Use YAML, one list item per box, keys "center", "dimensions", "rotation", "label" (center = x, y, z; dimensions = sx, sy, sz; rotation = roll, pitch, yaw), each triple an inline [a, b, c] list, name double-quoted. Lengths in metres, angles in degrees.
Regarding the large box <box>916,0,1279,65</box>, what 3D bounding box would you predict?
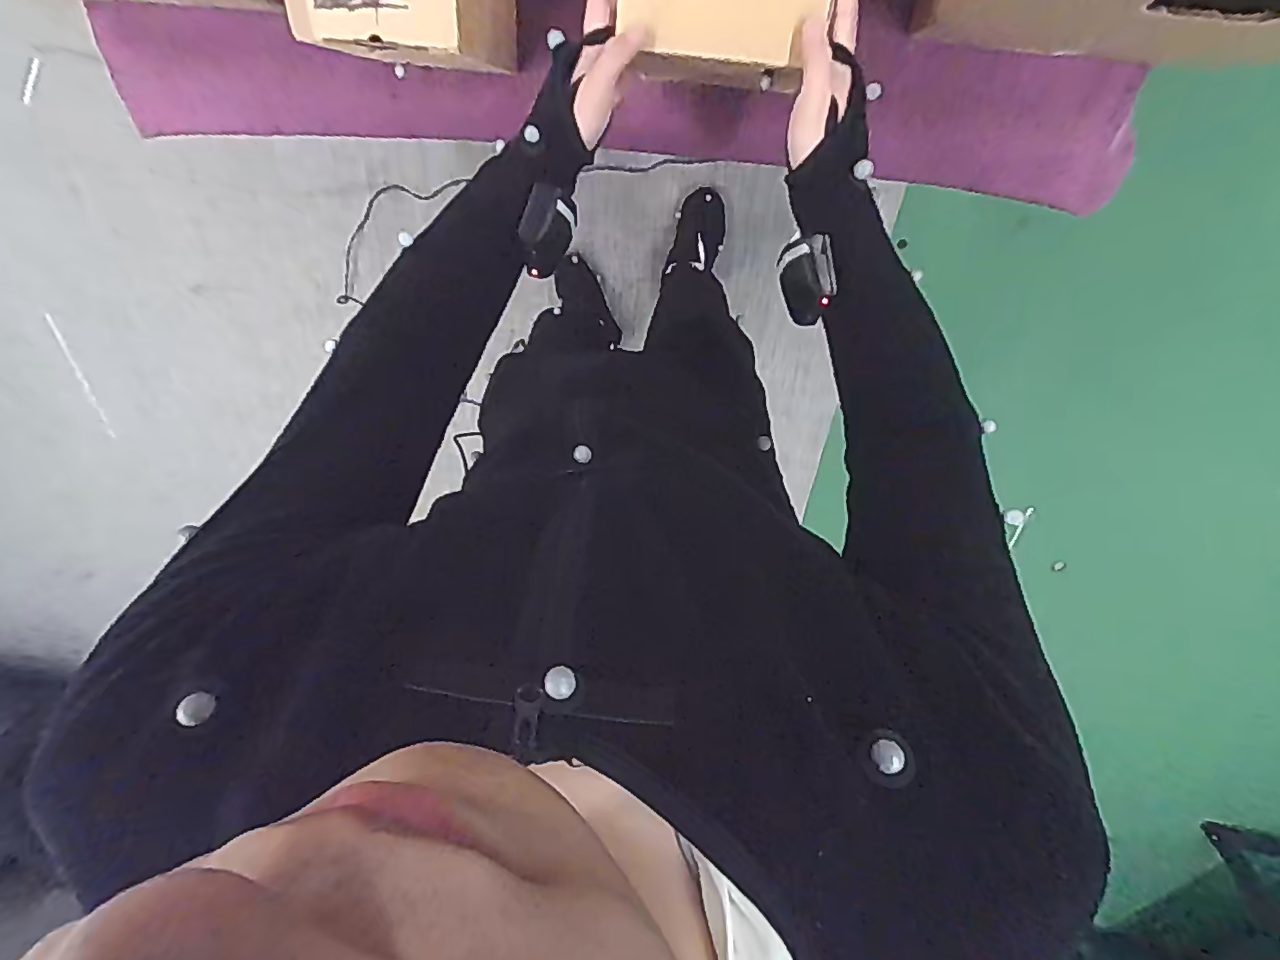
- center: [0.430, -0.528, 0.326]
  dimensions: [0.320, 0.320, 0.408]
  rotation: [9, 124, 4]
  label: "large box"
